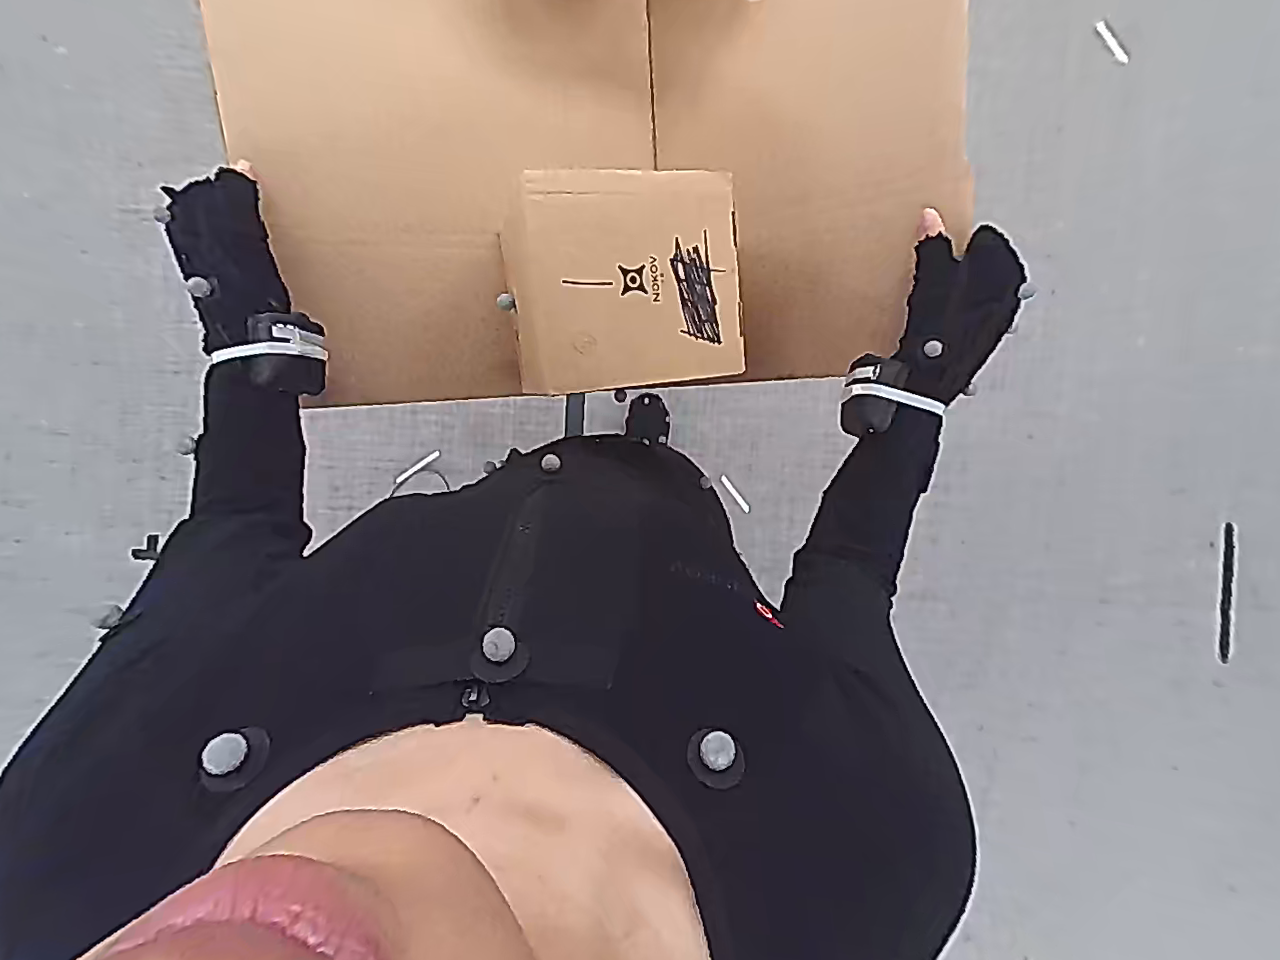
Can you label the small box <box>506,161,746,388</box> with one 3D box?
[{"bbox_3d":[-0.021,-0.179,0.510,0.179,0.176,0.168,-10,102,-17],"label":"small box"}]
